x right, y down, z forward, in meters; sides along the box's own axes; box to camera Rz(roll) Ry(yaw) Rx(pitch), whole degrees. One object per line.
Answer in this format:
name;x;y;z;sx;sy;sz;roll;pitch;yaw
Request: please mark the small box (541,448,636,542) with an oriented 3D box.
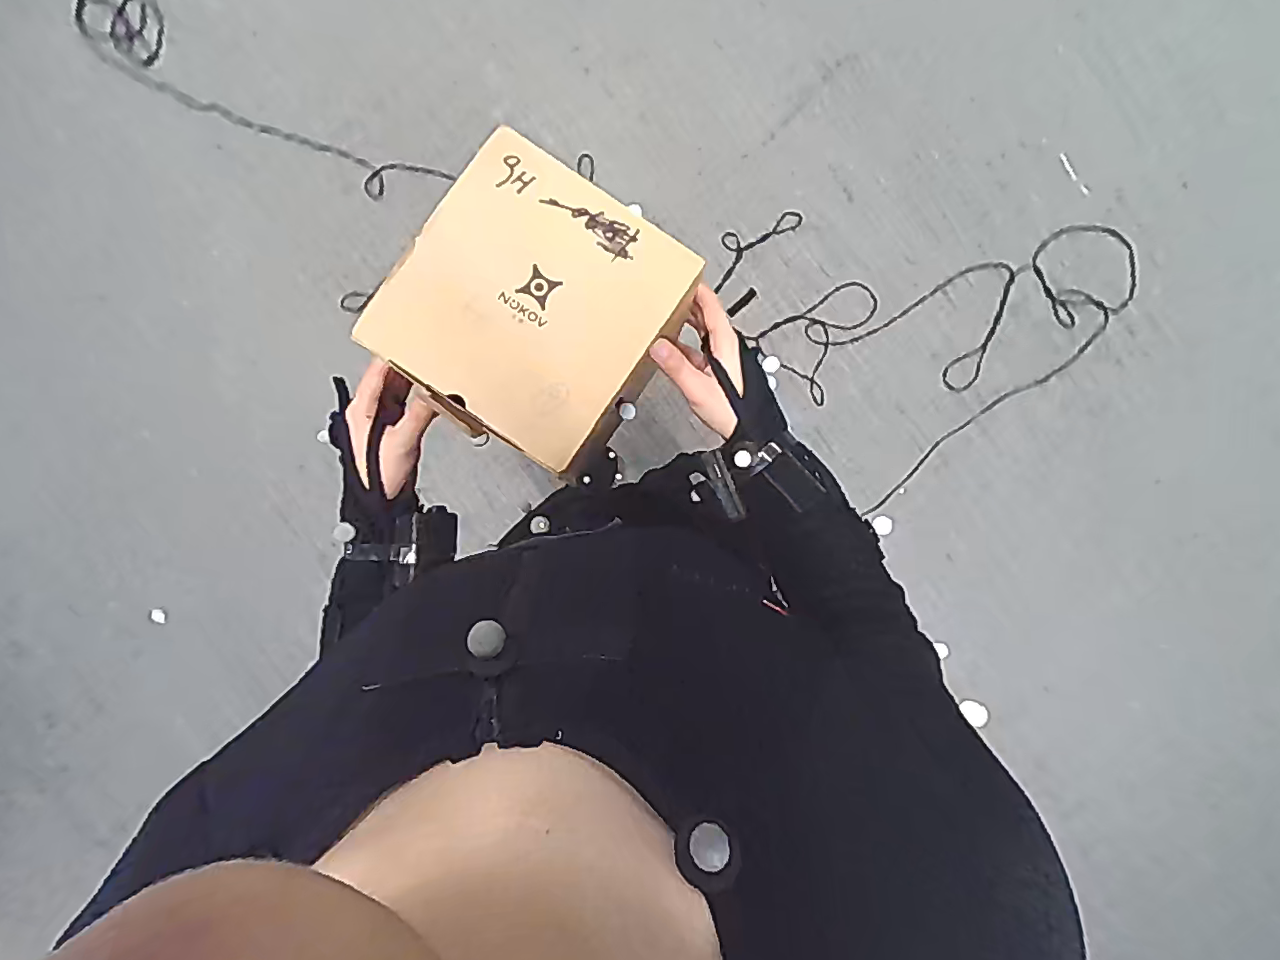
small box;-0.124;0.038;1.314;0.168;0.176;0.179;-27;83;2
